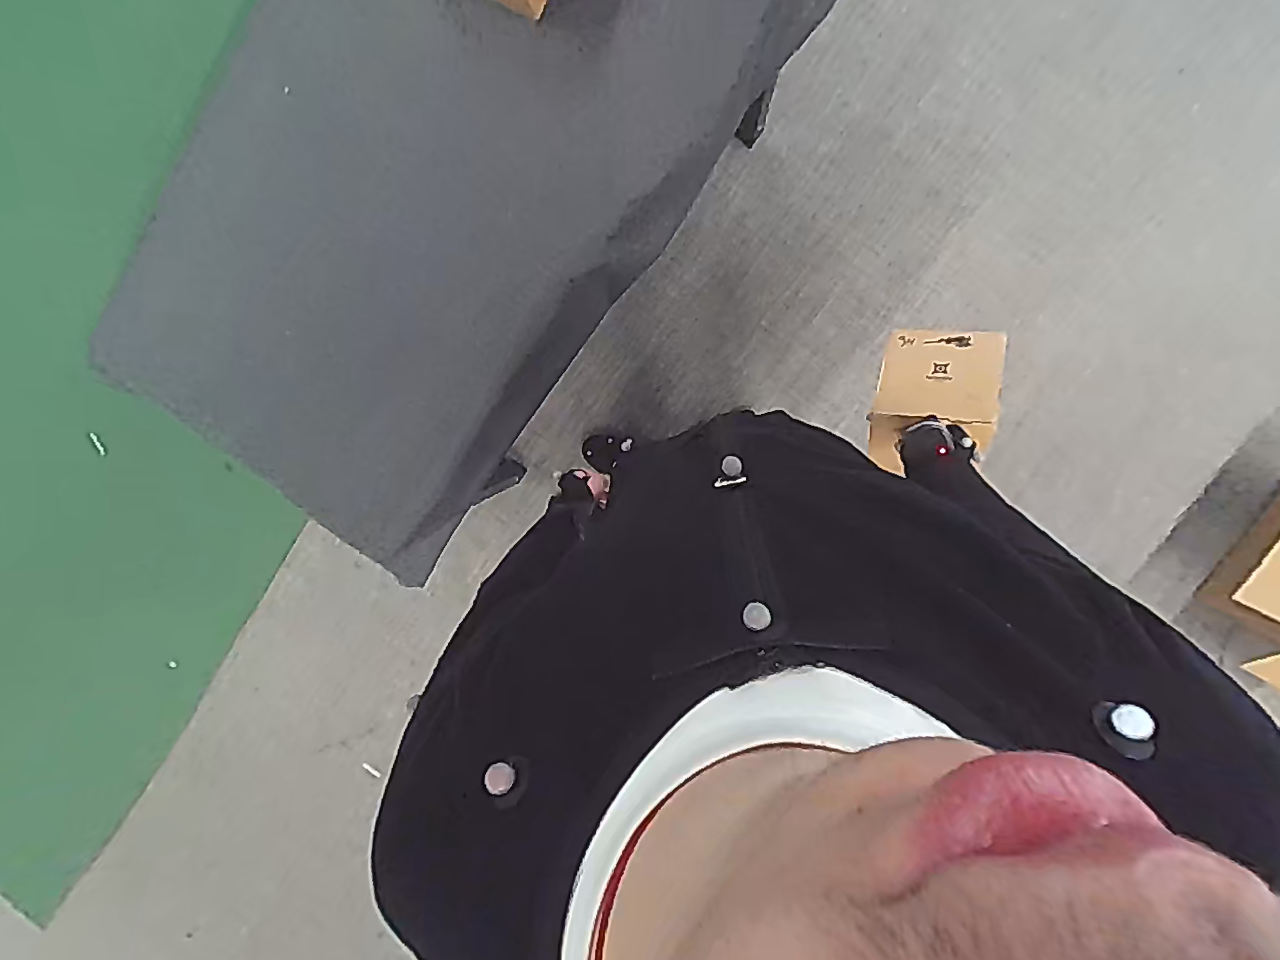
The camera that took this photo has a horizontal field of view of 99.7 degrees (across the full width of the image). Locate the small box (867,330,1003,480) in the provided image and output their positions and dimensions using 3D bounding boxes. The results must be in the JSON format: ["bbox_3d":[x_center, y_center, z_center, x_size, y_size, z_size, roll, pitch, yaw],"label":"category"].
[{"bbox_3d":[0.472,-0.120,0.880,0.168,0.176,0.179,10,64,26],"label":"small box"}]
